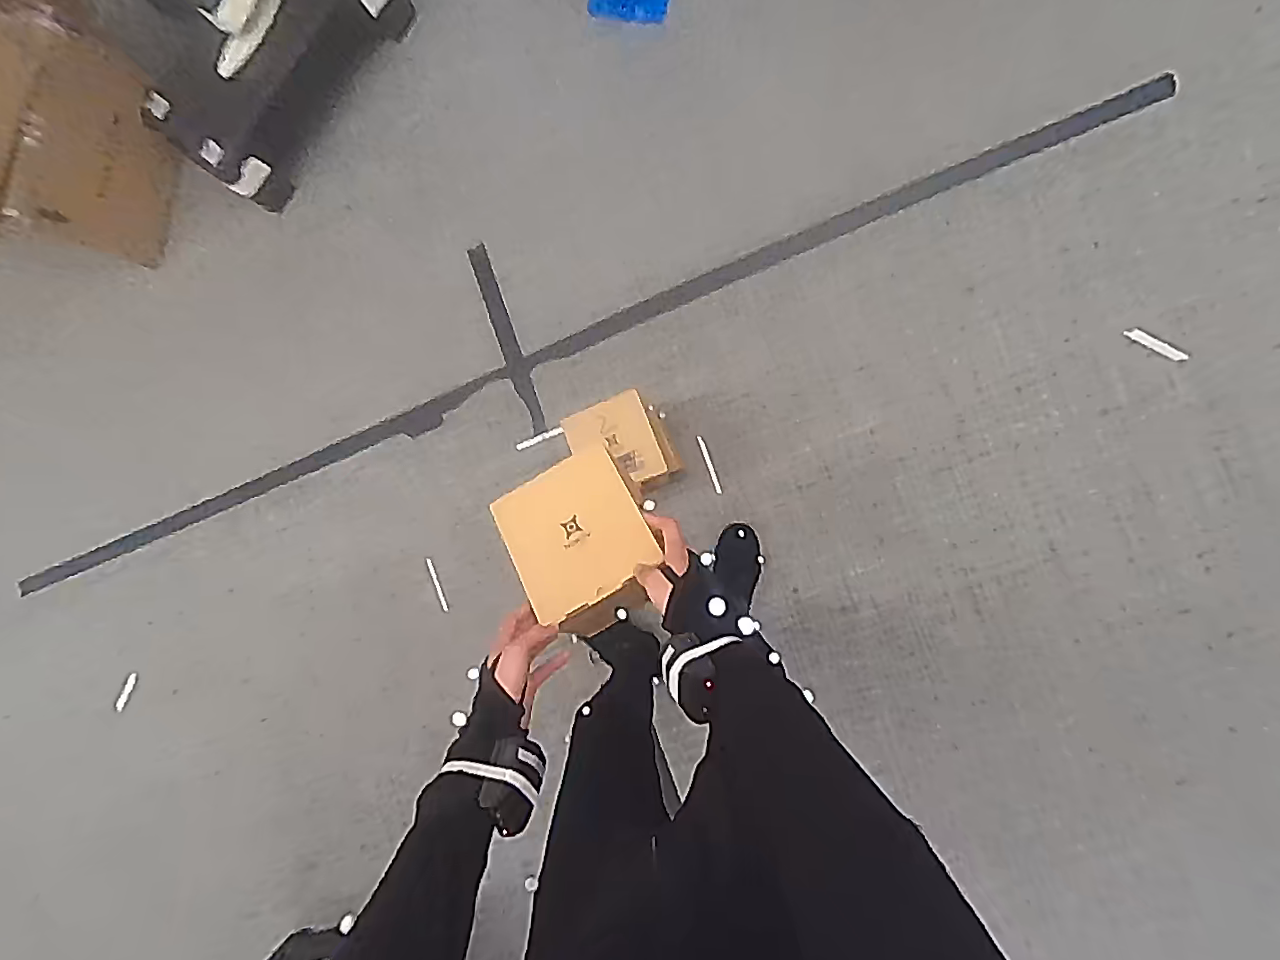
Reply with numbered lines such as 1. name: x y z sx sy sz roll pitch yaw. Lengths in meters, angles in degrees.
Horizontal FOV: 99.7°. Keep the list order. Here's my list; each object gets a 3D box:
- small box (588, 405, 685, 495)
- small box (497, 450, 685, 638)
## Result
1. small box: -0.002 -0.059 1.290 0.168 0.176 0.179 -24 89 9
2. small box: -0.057 0.095 0.719 0.168 0.176 0.179 -30 68 2
